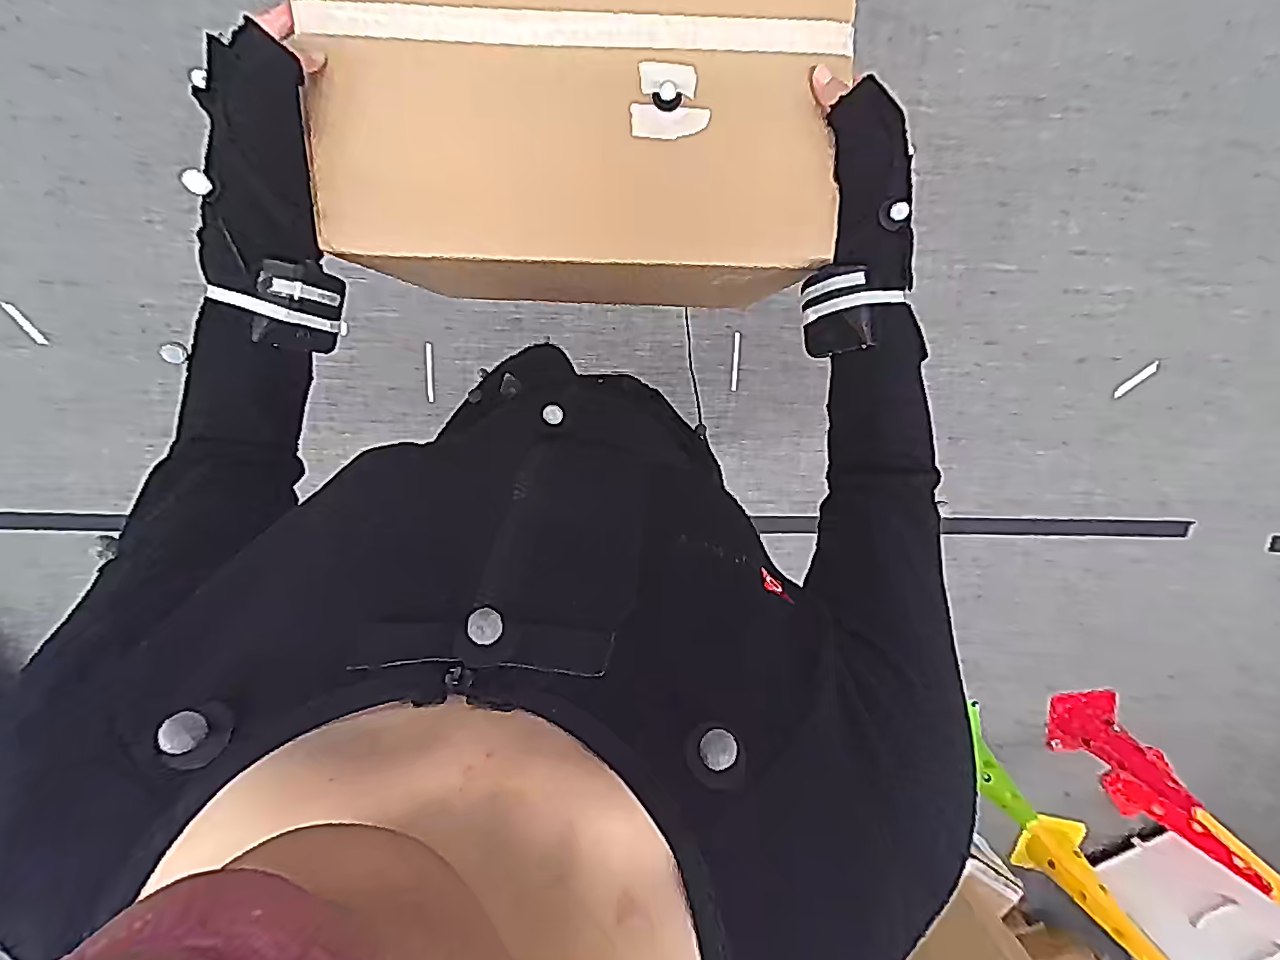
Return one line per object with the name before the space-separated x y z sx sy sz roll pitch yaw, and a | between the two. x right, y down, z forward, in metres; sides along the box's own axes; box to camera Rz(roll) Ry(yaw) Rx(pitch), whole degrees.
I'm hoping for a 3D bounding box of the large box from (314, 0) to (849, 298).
large box | -0.048 -0.366 0.549 0.408 0.320 0.320 1 102 -2
